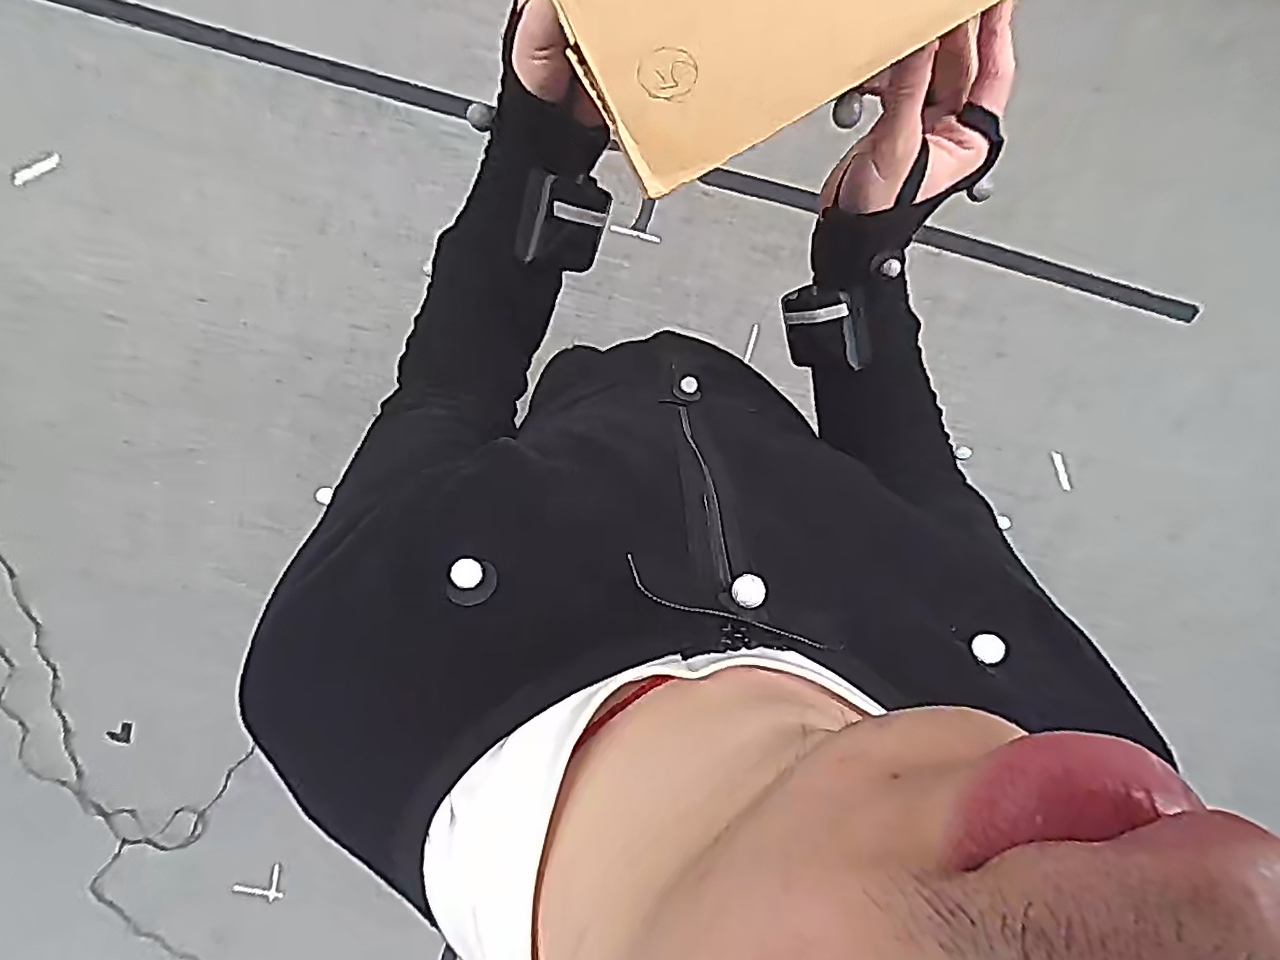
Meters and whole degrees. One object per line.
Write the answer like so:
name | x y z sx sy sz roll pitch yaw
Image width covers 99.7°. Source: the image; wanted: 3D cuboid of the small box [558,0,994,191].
small box | 0.056 -0.253 0.224 0.179 0.176 0.168 -20 119 25
